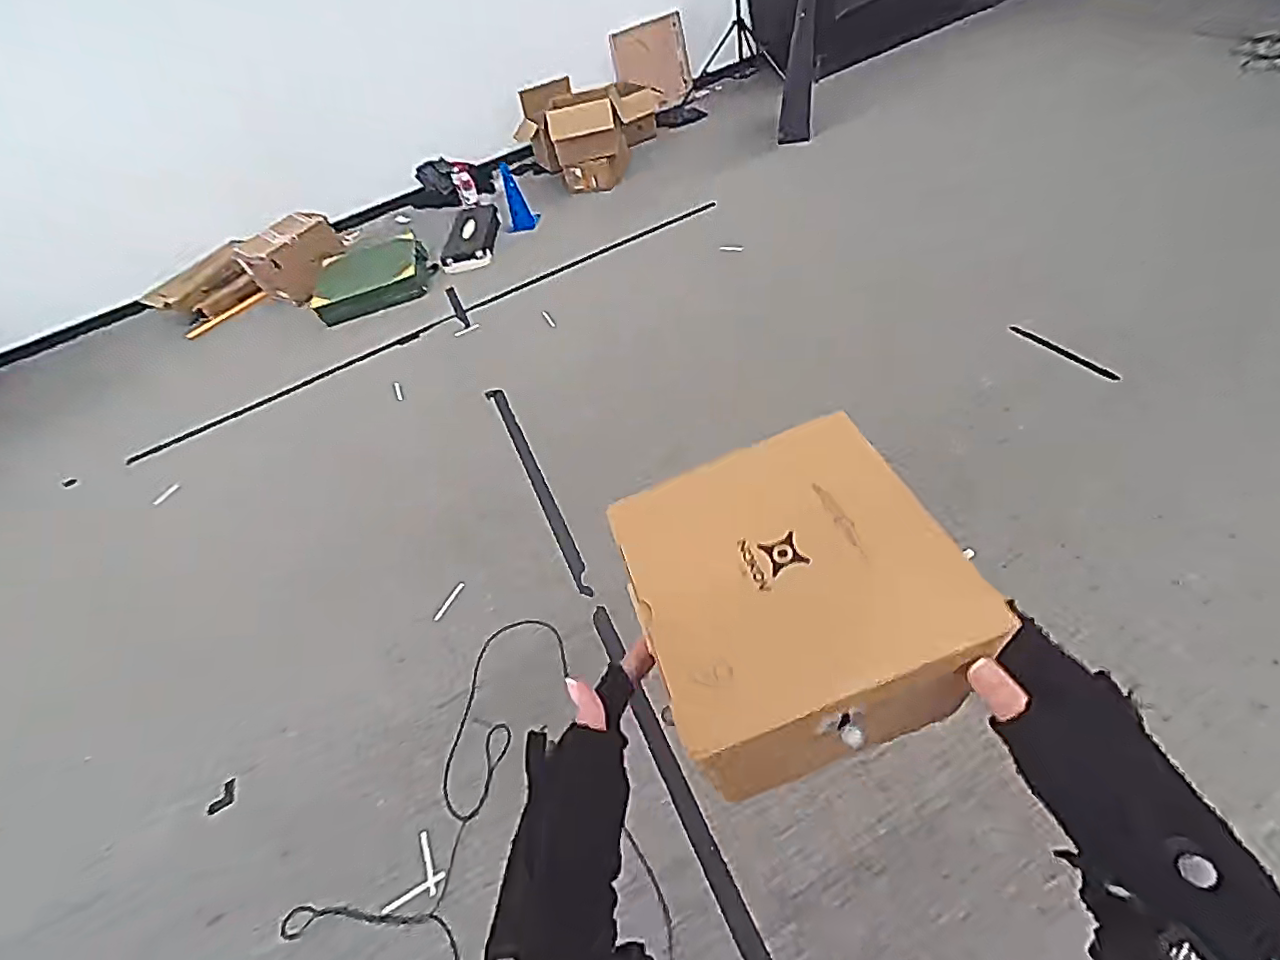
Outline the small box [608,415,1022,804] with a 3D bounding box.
[{"bbox_3d":[0.101,0.094,0.364,0.179,0.176,0.168,-23,50,1],"label":"small box"}]
